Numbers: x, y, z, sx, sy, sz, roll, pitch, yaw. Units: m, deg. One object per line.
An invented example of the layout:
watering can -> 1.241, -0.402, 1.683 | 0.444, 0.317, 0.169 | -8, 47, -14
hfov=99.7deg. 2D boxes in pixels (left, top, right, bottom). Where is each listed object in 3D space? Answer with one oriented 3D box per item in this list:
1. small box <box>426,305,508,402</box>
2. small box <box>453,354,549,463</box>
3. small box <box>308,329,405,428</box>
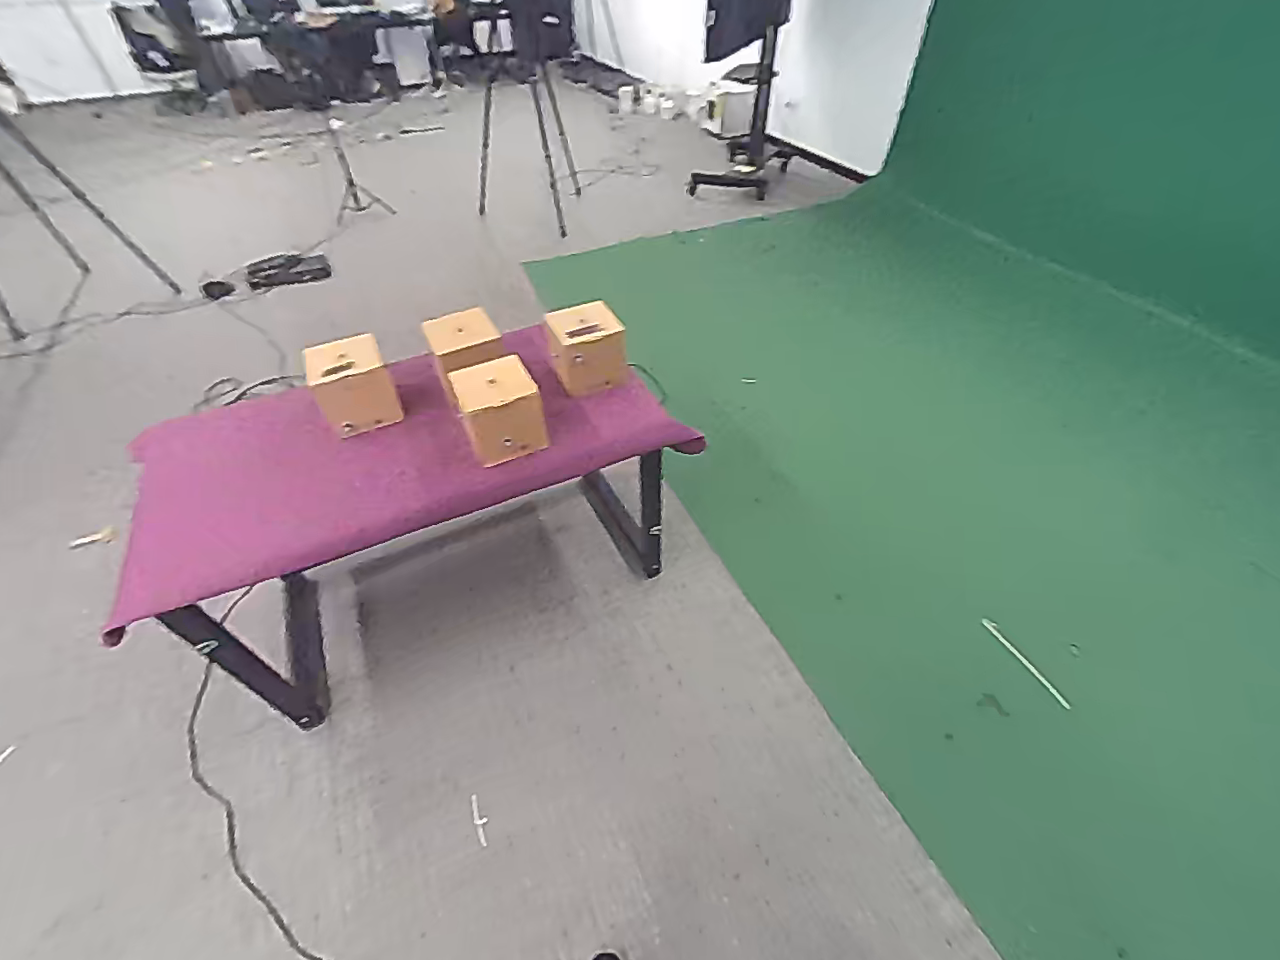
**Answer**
small box -> -0.457, -0.339, 1.455 | 0.168, 0.176, 0.179 | -21, 51, -17
small box -> -0.329, -0.171, 1.295 | 0.168, 0.176, 0.179 | -20, 50, -18
small box -> -0.713, -0.250, 1.369 | 0.168, 0.176, 0.179 | -20, 49, -18
